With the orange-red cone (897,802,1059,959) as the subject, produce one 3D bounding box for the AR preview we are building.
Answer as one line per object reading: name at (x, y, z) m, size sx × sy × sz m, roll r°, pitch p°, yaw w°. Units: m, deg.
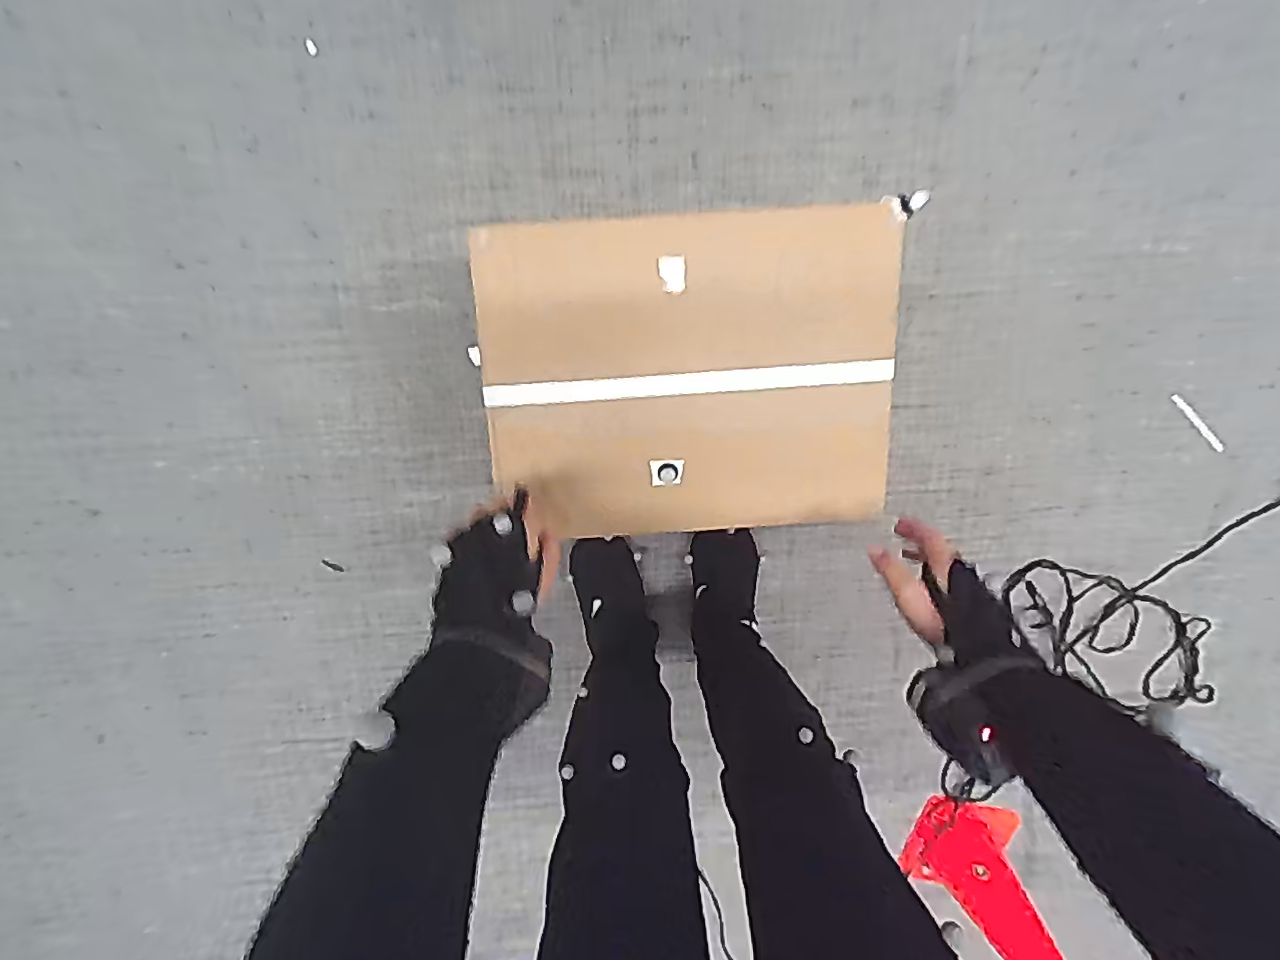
orange-red cone at (0.629, 0.761, 0.887) m, size 0.199 × 0.360 × 0.198 m, roll 16°, pitch 103°, yaw -7°
